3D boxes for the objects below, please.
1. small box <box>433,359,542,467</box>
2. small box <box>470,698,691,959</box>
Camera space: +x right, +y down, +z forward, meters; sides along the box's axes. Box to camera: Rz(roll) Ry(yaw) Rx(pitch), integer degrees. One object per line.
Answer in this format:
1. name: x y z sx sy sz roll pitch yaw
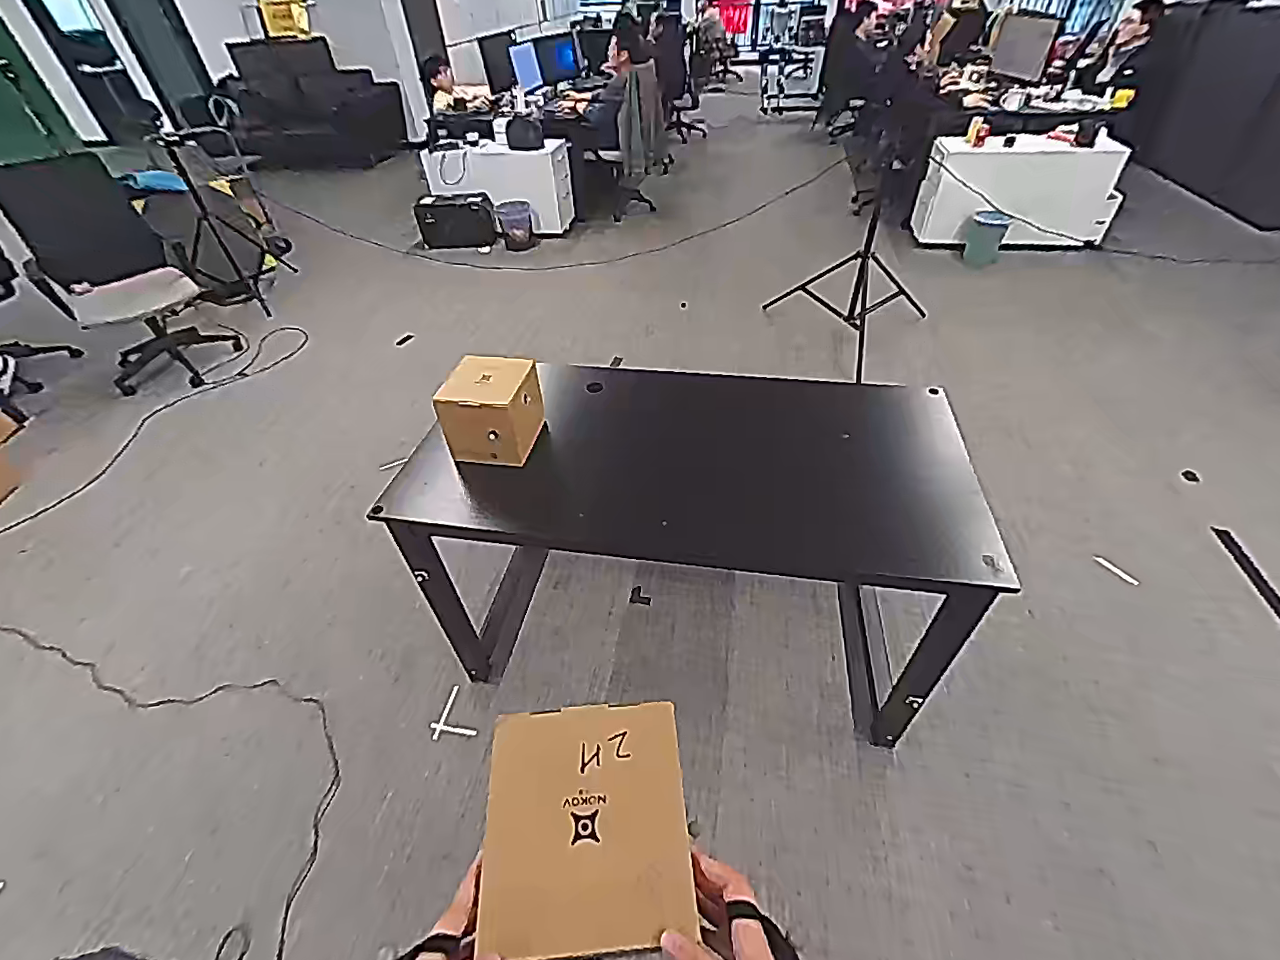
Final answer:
1. small box: -0.324 -0.147 1.196 0.168 0.176 0.179 6 43 8
2. small box: -0.046 0.326 0.504 0.168 0.176 0.179 -4 48 -3
